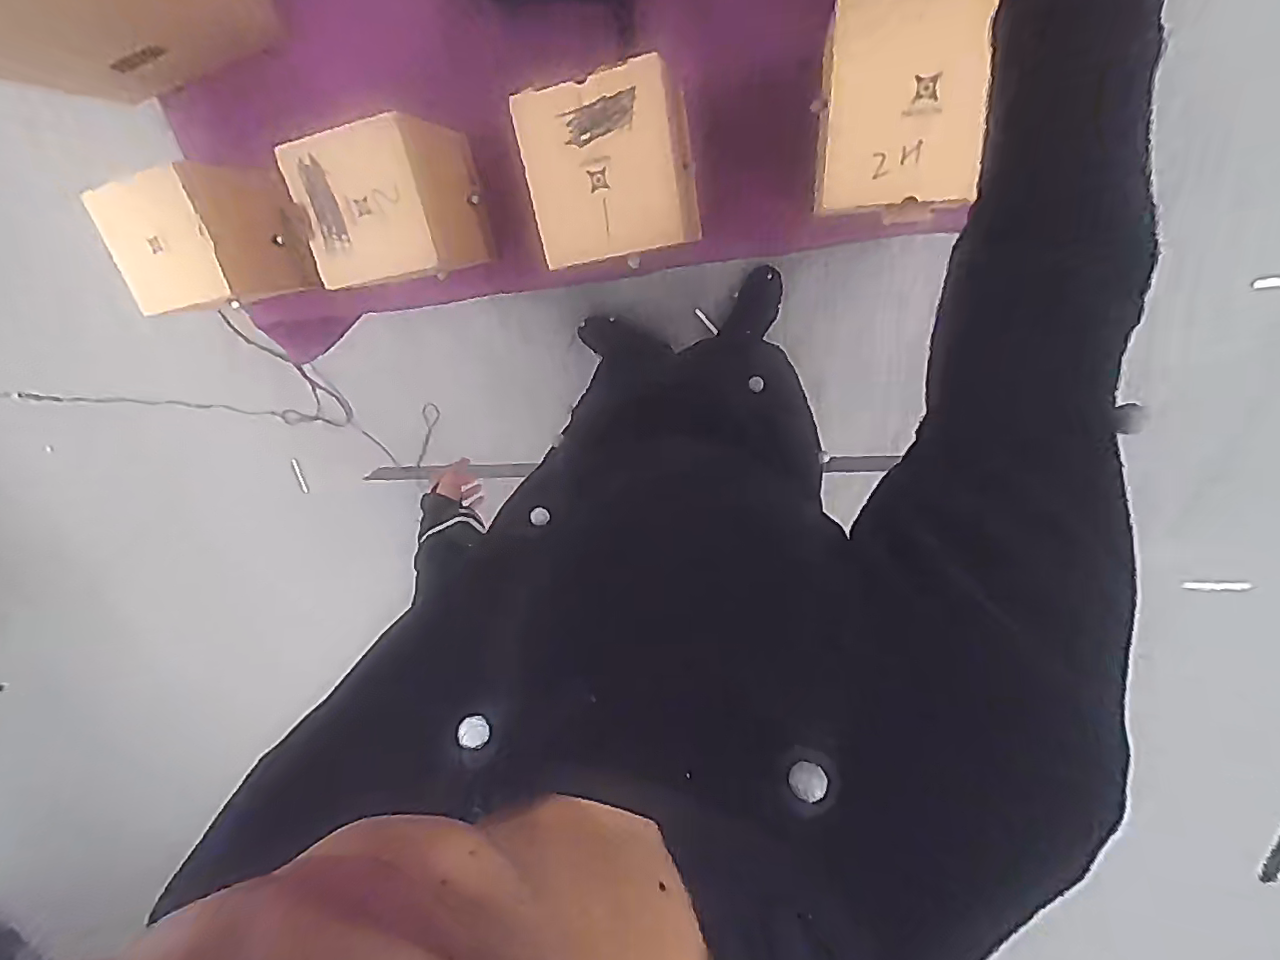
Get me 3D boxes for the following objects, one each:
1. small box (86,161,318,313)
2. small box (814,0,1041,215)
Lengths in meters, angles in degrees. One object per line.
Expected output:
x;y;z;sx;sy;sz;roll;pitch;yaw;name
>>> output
-0.634;-0.354;0.806;0.179;0.176;0.168;-6;113;15;small box
0.276;-0.381;0.565;0.168;0.176;0.179;3;115;14;small box
